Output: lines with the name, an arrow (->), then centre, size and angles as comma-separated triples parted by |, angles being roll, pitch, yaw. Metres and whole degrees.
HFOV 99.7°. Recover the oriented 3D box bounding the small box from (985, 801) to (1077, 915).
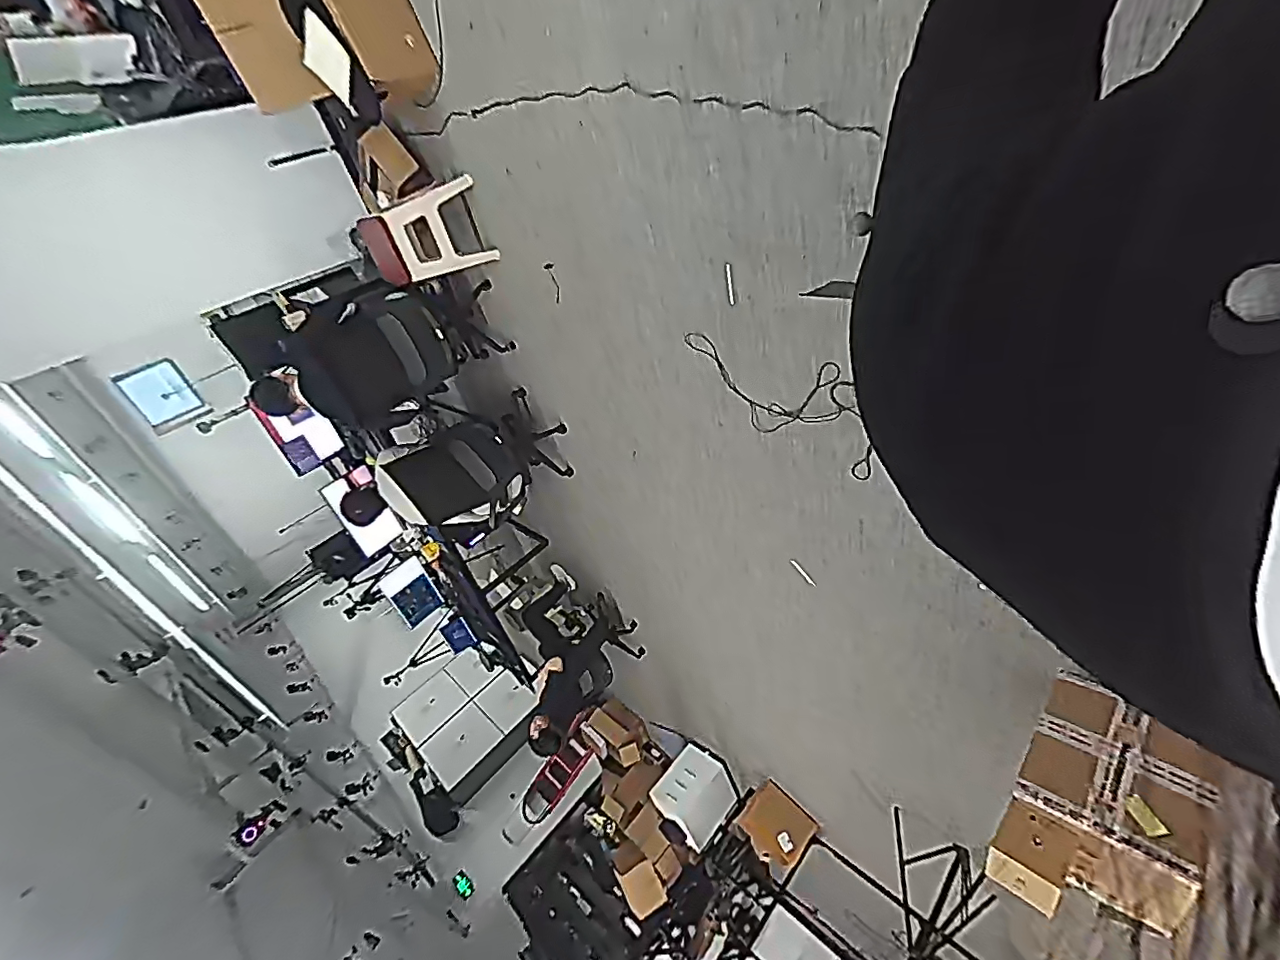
small box -> 1.105, 1.058, 1.528 | 0.168, 0.176, 0.179 | 20, 136, 45
